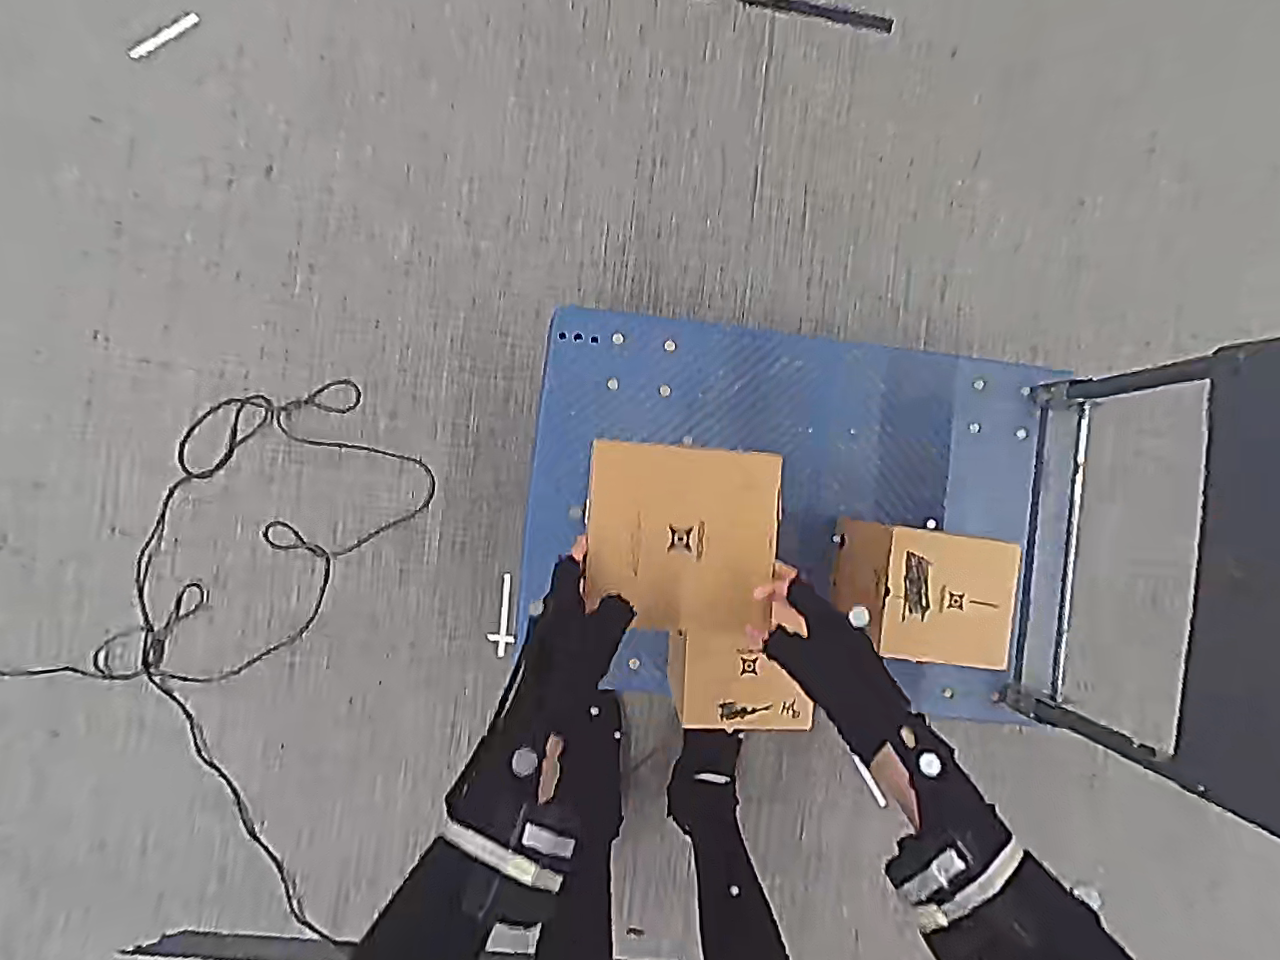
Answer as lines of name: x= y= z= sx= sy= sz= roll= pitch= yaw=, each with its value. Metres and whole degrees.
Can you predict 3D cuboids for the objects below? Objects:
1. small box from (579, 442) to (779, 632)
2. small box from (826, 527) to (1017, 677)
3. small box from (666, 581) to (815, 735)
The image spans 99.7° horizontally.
small box: x=0.030 y=0.054 z=0.570 sx=0.179 sy=0.176 sz=0.168 roll=4 pitch=88 yaw=-5
small box: x=0.384 y=0.161 z=0.767 sx=0.179 sy=0.176 sz=0.168 roll=8 pitch=88 yaw=-3
small box: x=0.129 y=0.229 z=0.751 sx=0.168 sy=0.176 sz=0.179 roll=3 pitch=89 yaw=-3
